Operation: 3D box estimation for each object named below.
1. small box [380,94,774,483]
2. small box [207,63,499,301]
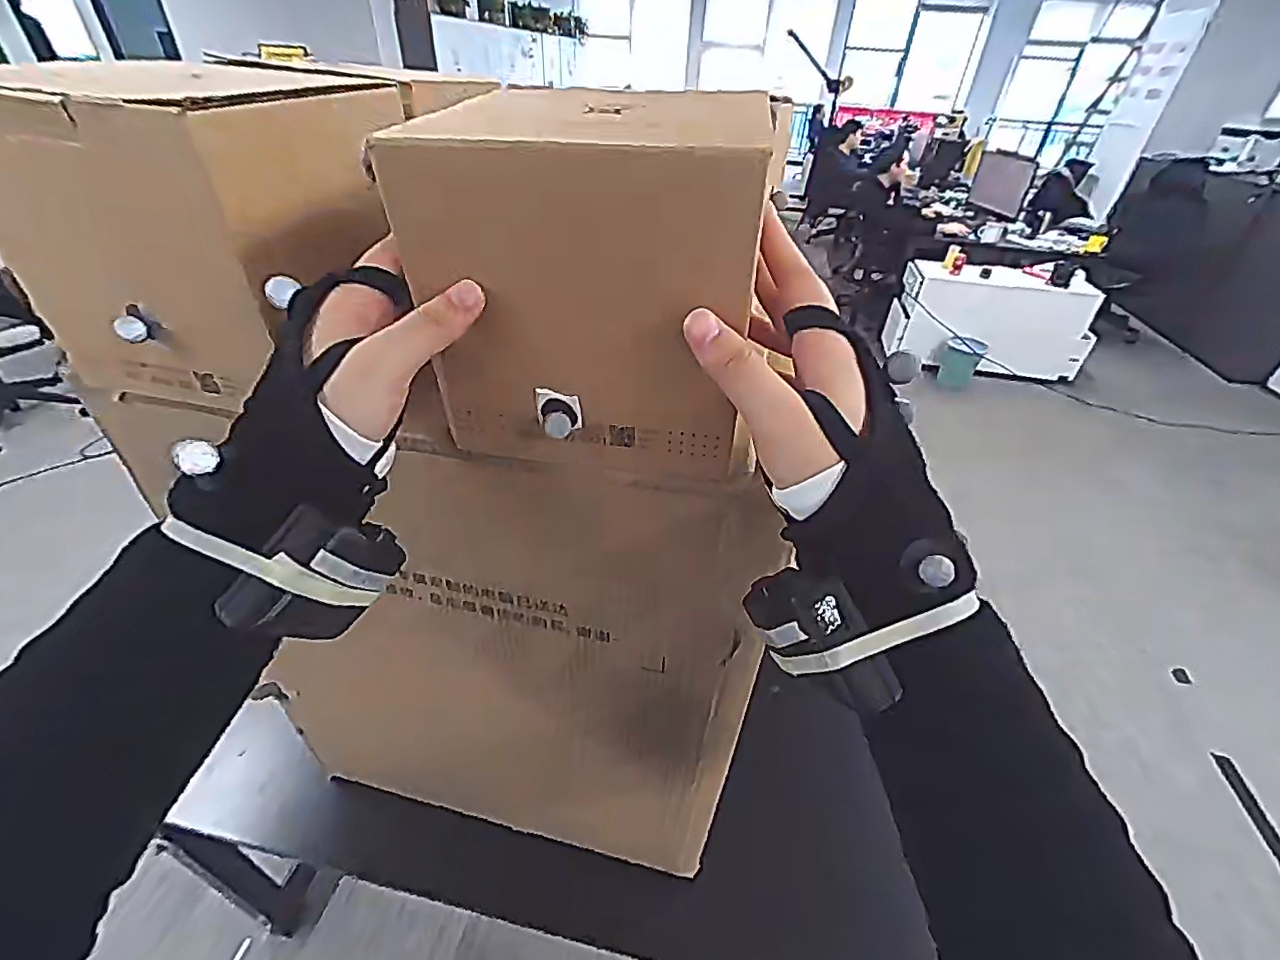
[{"bbox_3d":[-0.016,-0.122,0.327,0.168,0.176,0.179,5,41,7],"label":"small box"},{"bbox_3d":[-0.243,-0.283,0.517,0.179,0.176,0.168,11,37,8],"label":"small box"}]
